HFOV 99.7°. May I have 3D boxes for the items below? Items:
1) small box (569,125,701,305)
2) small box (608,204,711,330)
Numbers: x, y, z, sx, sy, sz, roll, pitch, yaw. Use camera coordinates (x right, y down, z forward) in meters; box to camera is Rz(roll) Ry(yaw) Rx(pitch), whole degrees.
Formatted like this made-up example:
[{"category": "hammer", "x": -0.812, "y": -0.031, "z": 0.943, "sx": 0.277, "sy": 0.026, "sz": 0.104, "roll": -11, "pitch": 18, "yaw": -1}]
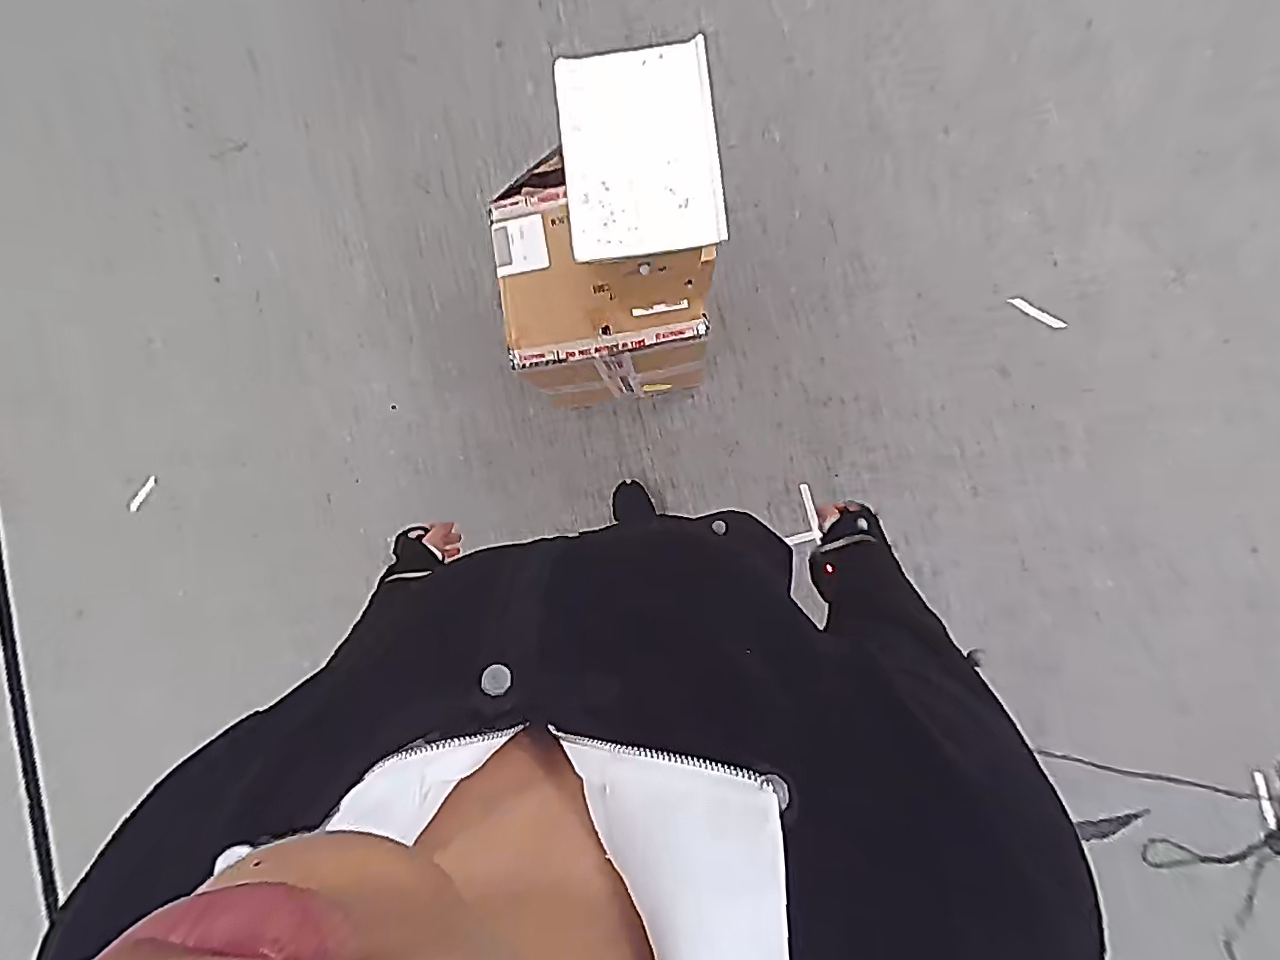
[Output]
[{"category": "small box", "x": -0.005, "y": -0.381, "z": 0.802, "sx": 0.168, "sy": 0.176, "sz": 0.179, "roll": -6, "pitch": 89, "yaw": 2}, {"category": "small box", "x": 0.021, "y": -0.382, "z": 0.965, "sx": 0.179, "sy": 0.176, "sz": 0.168, "roll": -10, "pitch": 88, "yaw": 3}]
